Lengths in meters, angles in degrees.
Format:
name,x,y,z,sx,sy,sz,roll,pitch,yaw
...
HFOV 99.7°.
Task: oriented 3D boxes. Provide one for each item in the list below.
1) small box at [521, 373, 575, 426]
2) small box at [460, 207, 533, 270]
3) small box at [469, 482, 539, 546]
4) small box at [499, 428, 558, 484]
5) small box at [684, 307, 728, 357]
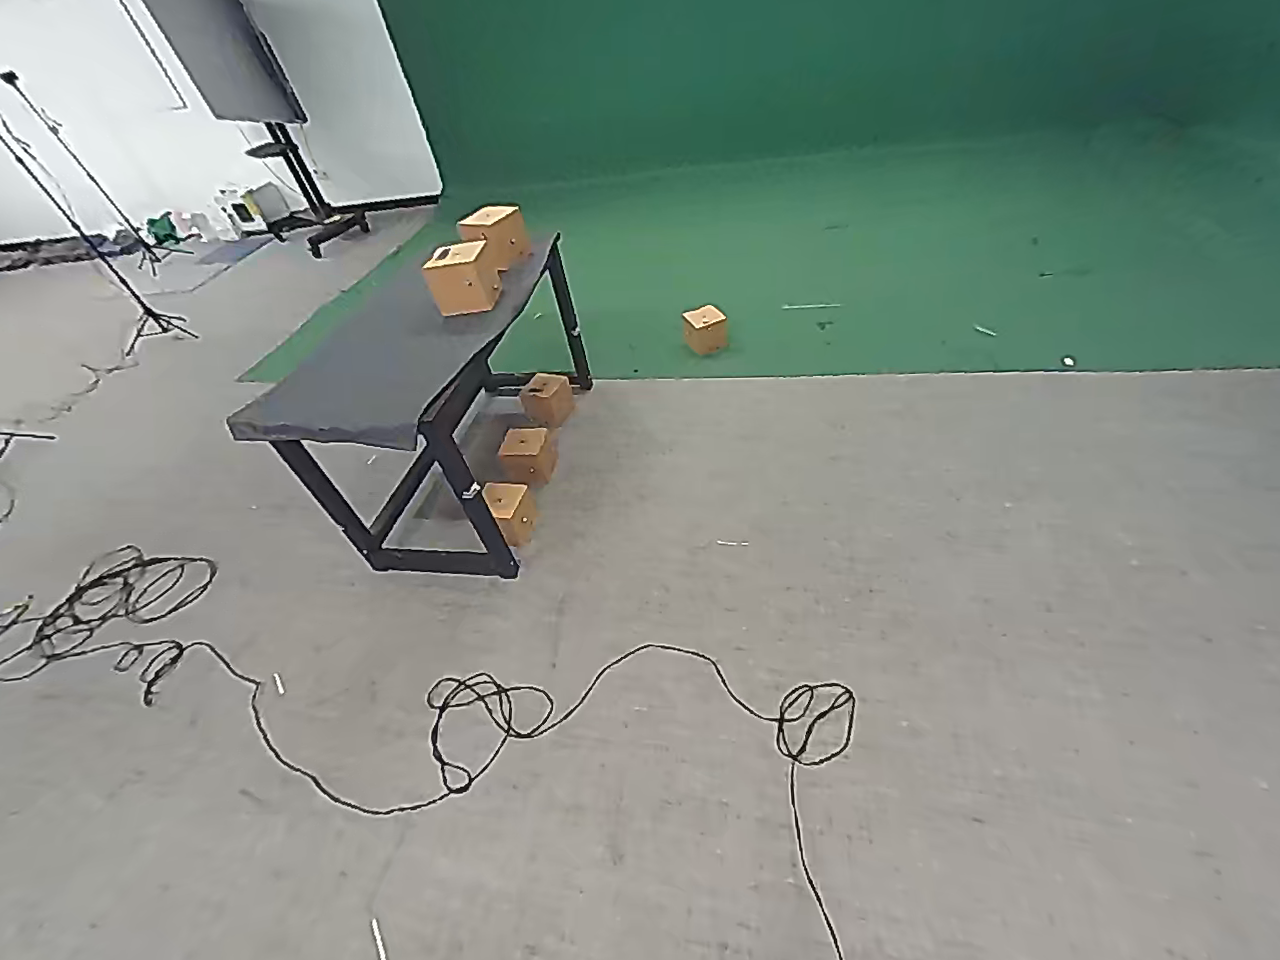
name,x,y,z,sx,sy,sz,roll,pitch,yaw
small box,-0.420,-0.372,2.511,0.168,0.176,0.179,12,47,21
small box,-0.527,-0.899,2.016,0.179,0.176,0.168,16,50,29
small box,-0.499,0.131,2.021,0.179,0.176,0.168,4,46,16
small box,-0.455,-0.097,2.240,0.179,0.176,0.168,-1,44,12
small box,0.338,-0.750,2.744,0.168,0.176,0.179,-21,44,-10
